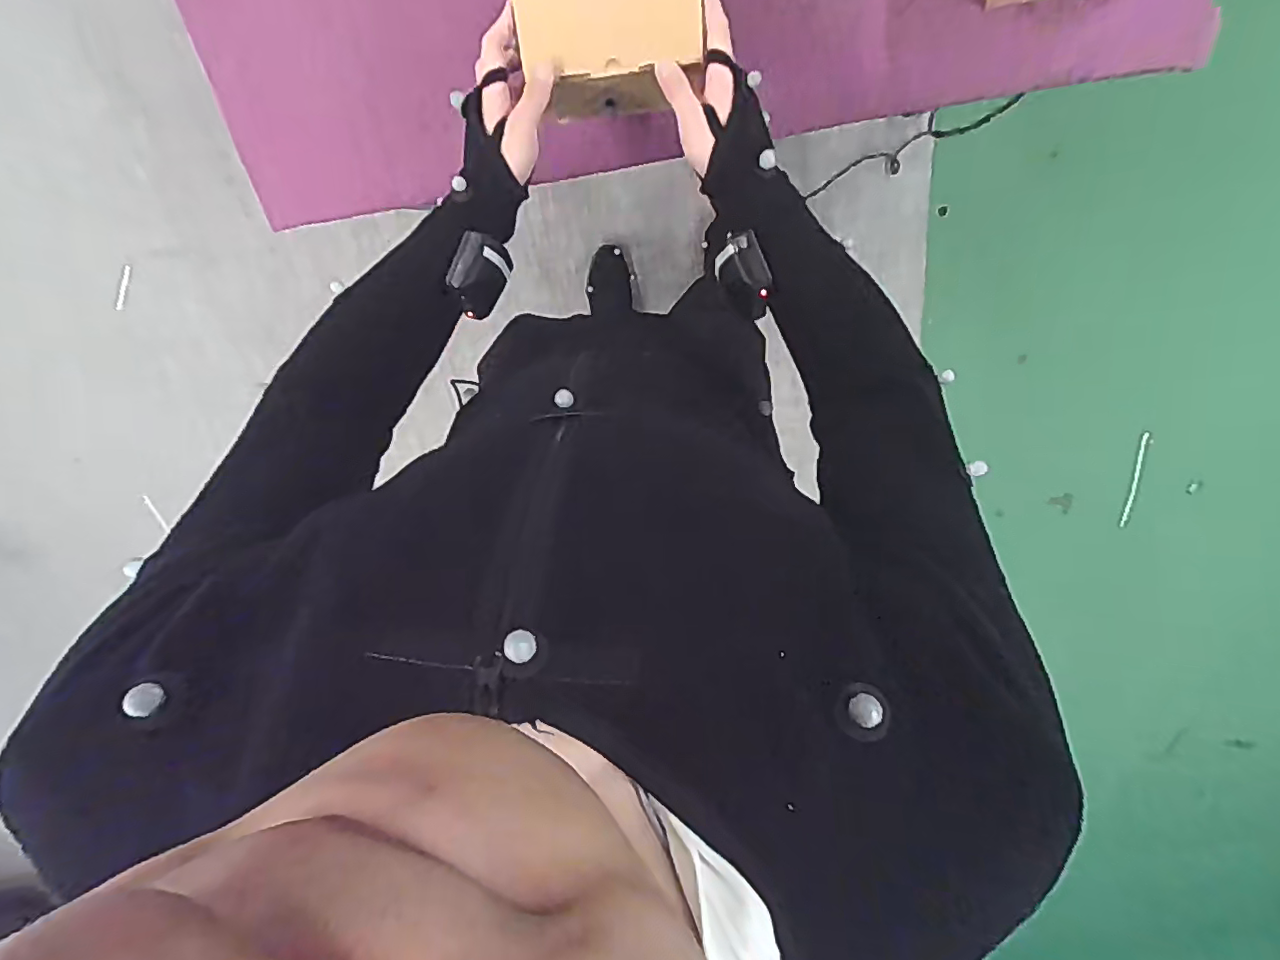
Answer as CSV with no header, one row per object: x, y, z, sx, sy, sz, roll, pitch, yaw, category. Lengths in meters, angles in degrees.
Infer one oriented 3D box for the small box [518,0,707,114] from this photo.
-0.028,-0.483,0.525,0.168,0.176,0.179,-5,115,4,small box
